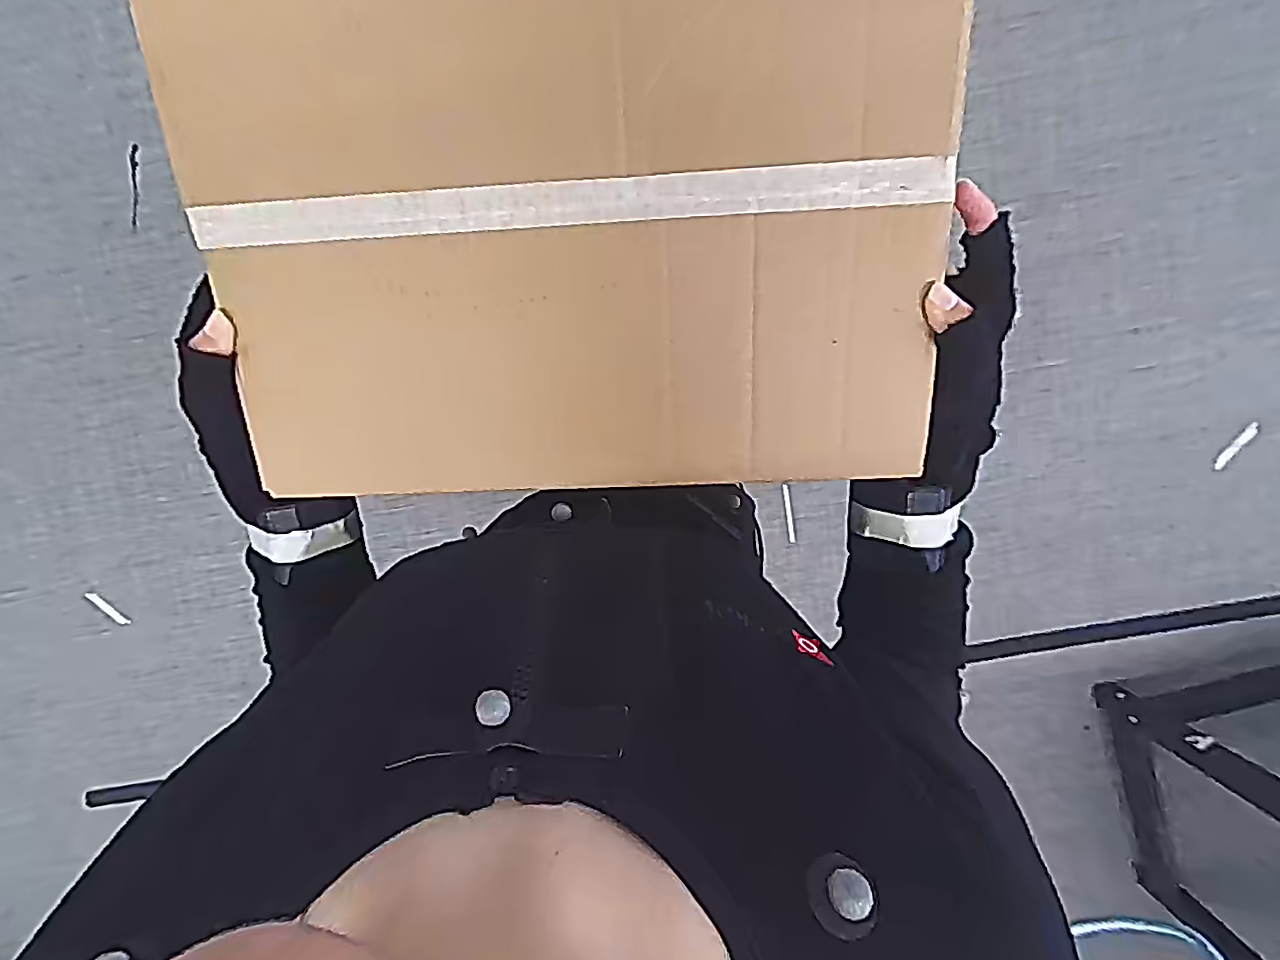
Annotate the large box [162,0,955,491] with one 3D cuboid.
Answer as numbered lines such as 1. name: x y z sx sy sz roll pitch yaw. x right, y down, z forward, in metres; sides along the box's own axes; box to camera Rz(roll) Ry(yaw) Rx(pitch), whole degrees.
1. large box: -0.036 -0.191 0.439 0.408 0.320 0.320 -2 108 3
